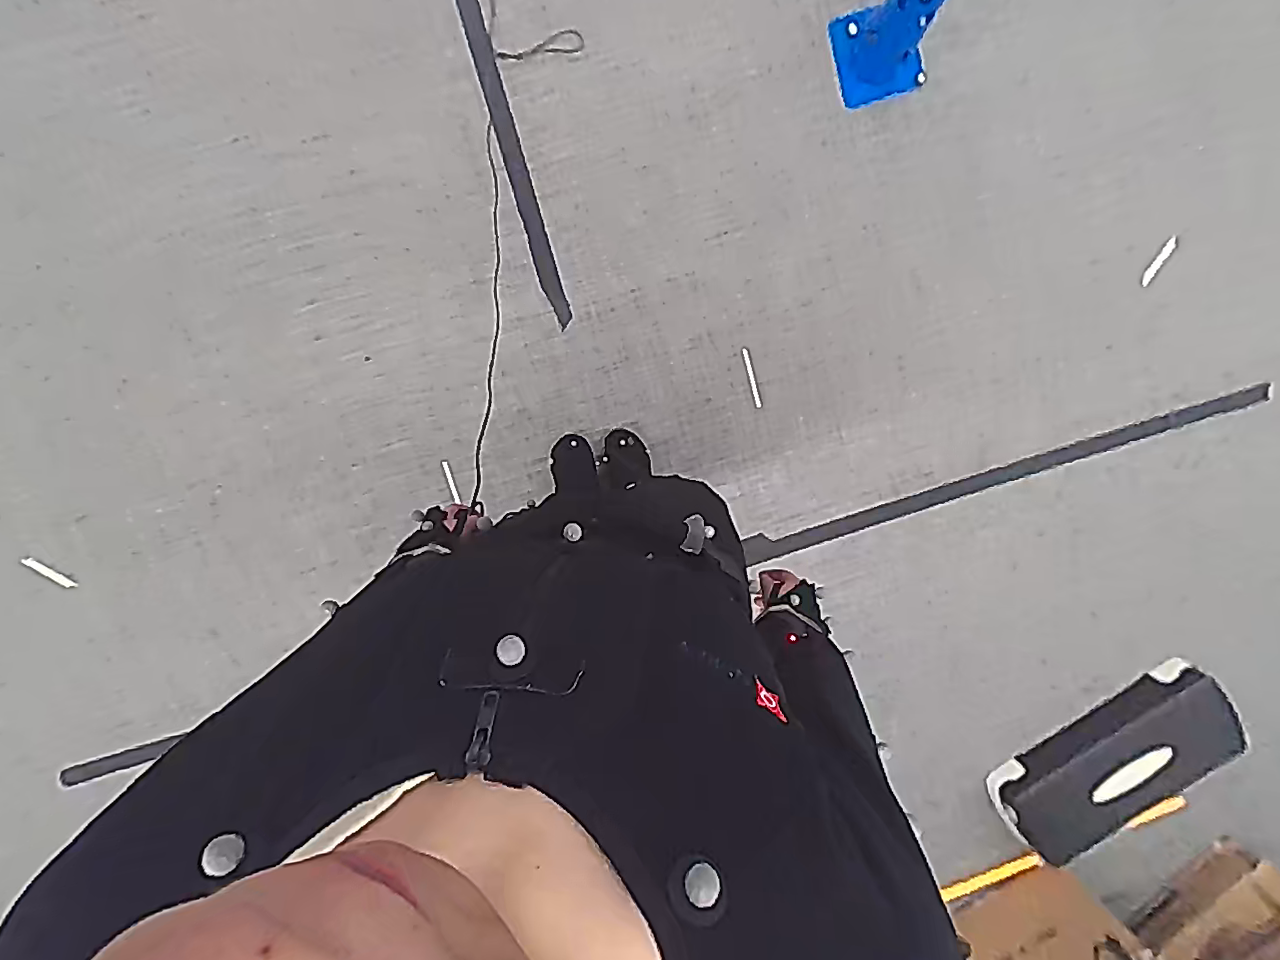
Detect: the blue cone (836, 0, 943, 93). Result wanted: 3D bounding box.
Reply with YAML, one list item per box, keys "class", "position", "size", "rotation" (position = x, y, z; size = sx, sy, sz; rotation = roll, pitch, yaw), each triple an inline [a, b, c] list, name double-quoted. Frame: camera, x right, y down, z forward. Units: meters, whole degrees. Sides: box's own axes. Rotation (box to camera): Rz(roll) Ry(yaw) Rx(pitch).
- class: "blue cone"
  position: [0.567, -0.986, 1.090]
  size: [0.192, 0.380, 0.193]
  rotation: [-17, 99, -2]
